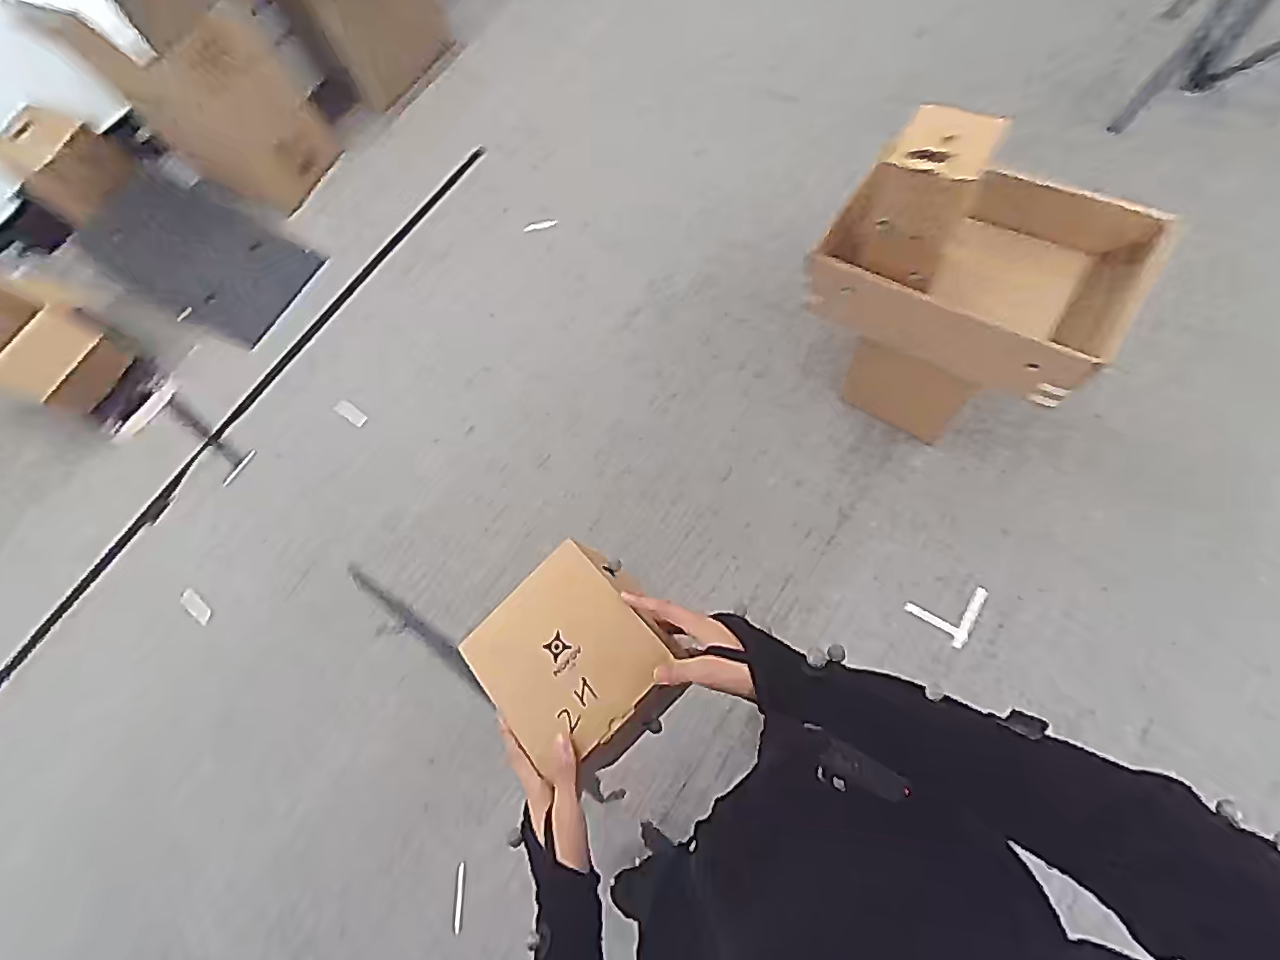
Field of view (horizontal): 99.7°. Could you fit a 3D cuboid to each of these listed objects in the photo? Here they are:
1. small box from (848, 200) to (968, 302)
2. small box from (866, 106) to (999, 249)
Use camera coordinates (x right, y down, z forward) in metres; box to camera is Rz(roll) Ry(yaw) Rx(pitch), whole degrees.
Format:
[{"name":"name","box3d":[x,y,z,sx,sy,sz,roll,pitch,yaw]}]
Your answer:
[{"name":"small box","box3d":[0.604,-0.538,1.238,0.179,0.176,0.168,26,75,20]},{"name":"small box","box3d":[0.575,-0.603,1.091,0.168,0.176,0.179,27,75,19]}]
